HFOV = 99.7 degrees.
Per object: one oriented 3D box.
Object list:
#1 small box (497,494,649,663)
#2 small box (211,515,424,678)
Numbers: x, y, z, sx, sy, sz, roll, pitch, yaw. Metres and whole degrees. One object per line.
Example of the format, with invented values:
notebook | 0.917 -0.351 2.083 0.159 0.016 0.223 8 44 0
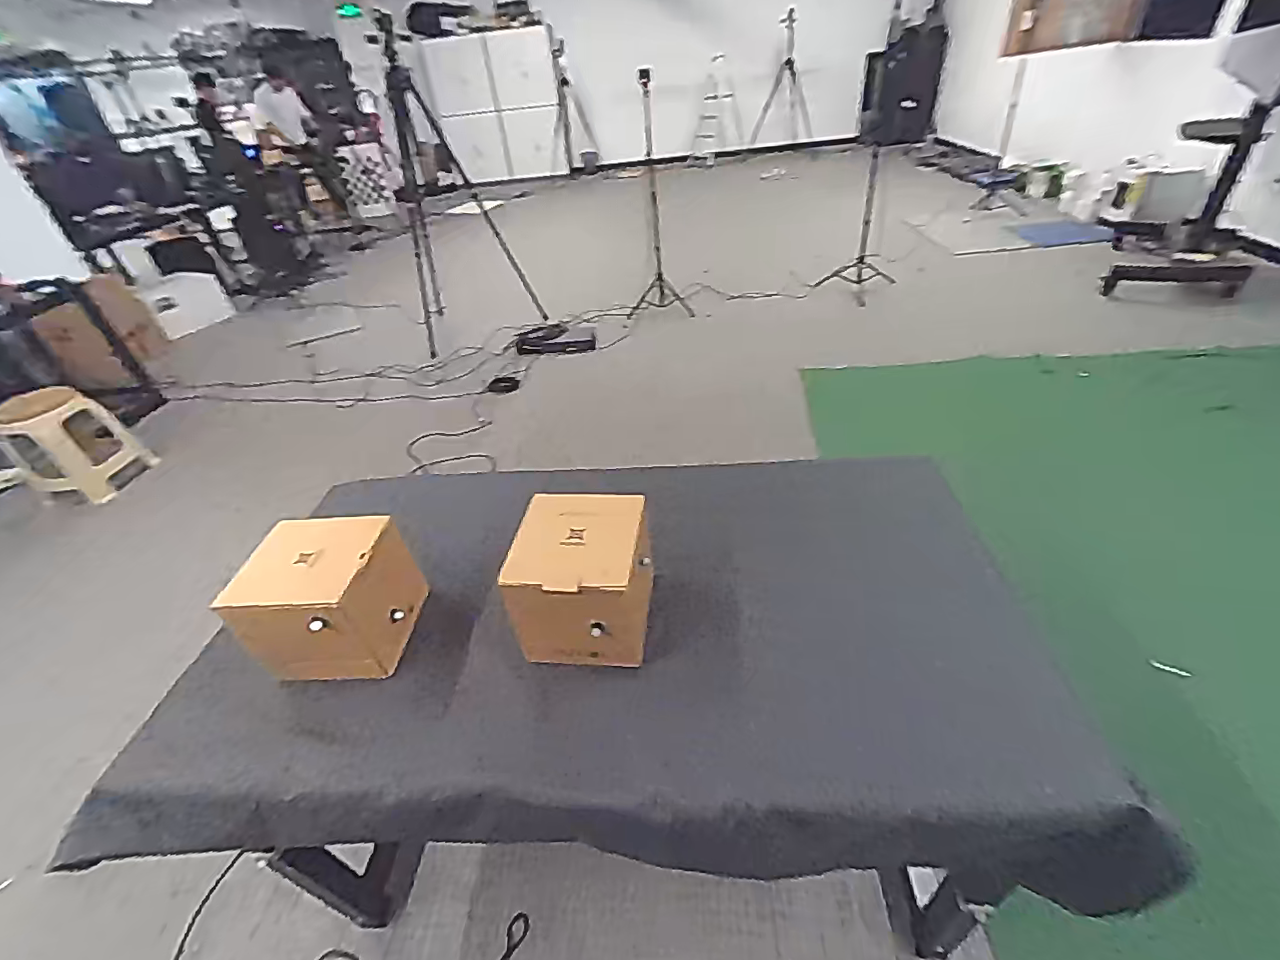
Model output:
small box | -0.080 0.138 0.766 0.168 0.176 0.179 1 37 8
small box | -0.446 0.170 0.784 0.179 0.176 0.168 -3 38 4
